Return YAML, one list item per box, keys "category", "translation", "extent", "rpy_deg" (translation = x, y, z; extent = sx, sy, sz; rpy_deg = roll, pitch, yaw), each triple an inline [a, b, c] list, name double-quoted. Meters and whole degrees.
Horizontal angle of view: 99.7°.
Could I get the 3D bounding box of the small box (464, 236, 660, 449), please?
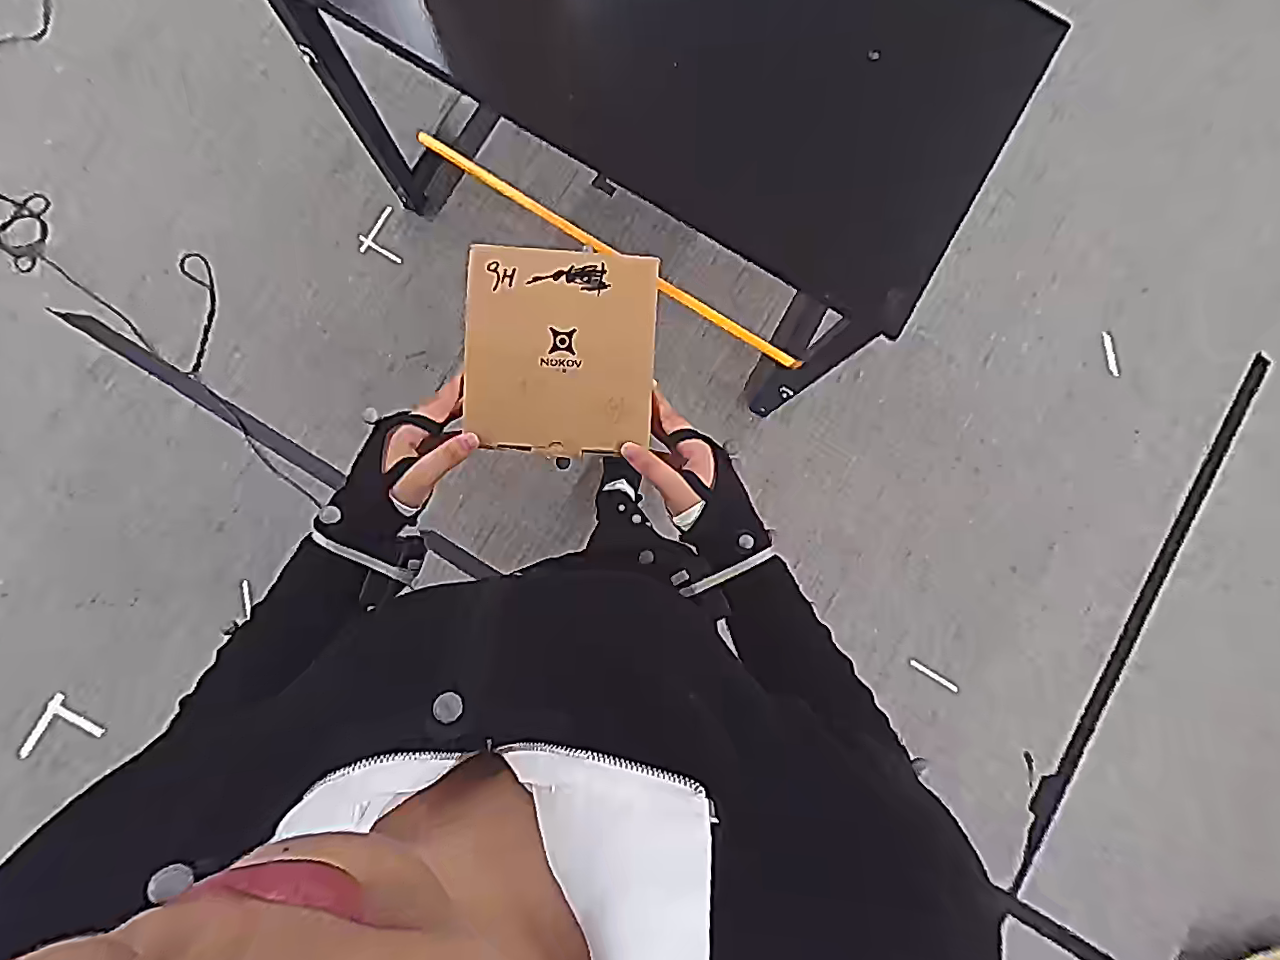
- category: "small box"
  translation: [-0.072, -0.124, 0.552]
  extent: [0.168, 0.176, 0.179]
  rpy_deg: [3, 93, -4]
